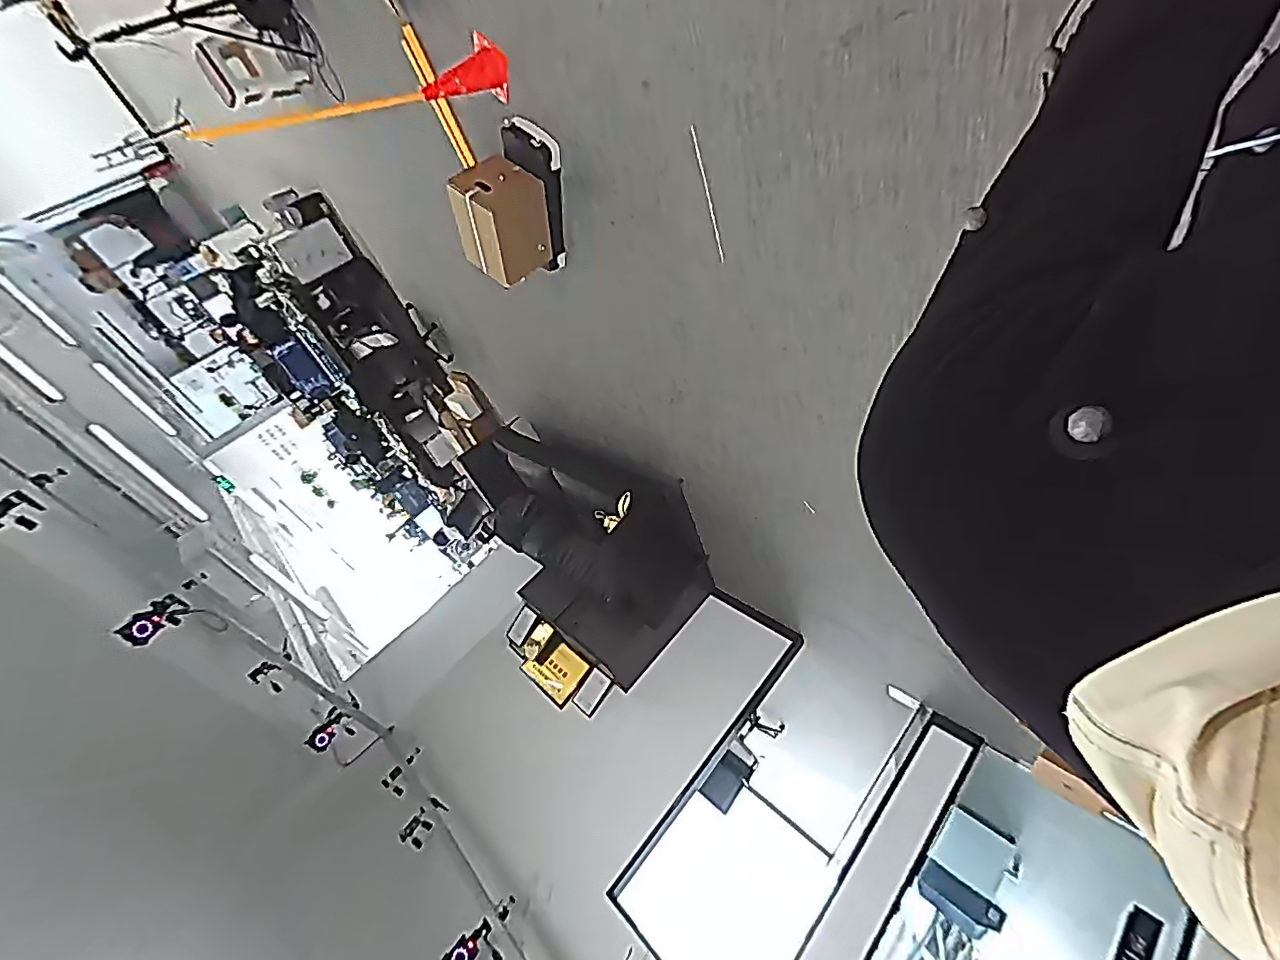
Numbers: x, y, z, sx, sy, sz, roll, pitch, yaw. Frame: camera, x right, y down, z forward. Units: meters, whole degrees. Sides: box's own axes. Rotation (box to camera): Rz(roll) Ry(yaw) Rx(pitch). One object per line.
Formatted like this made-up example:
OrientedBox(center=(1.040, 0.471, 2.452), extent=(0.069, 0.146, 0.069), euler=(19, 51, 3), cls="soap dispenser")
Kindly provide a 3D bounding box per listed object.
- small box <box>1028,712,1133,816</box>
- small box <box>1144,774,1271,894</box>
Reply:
OrientedBox(center=(1.248, 0.799, 1.532), extent=(0.179, 0.176, 0.168), euler=(27, 149, 40), cls="small box")
OrientedBox(center=(1.425, 0.885, 1.360), extent=(0.168, 0.176, 0.179), euler=(25, 149, 41), cls="small box")
